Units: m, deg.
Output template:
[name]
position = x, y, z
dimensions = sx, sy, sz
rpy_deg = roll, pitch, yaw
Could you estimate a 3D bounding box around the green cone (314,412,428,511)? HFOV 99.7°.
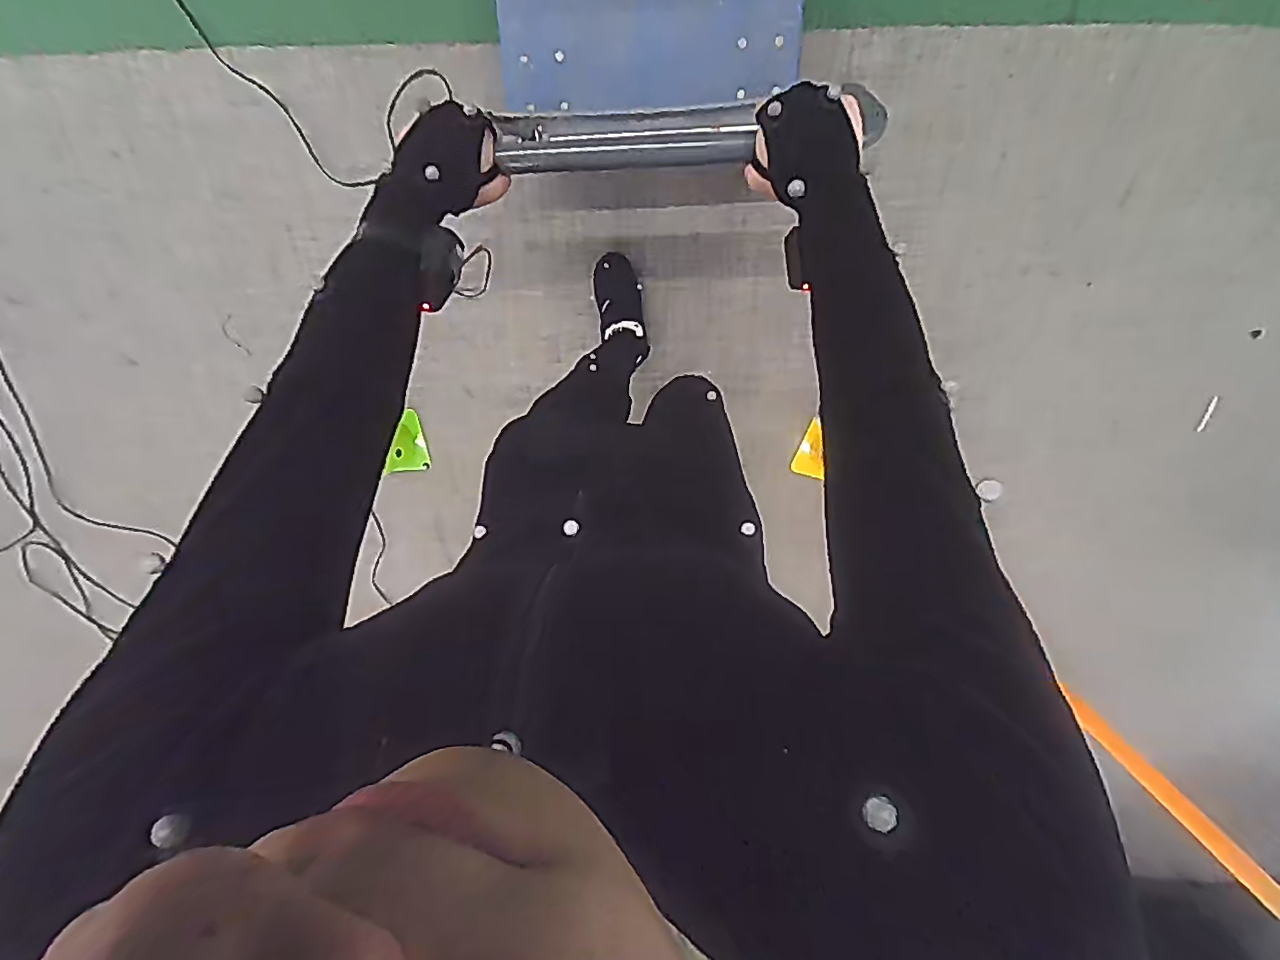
[green cone]
position = -0.768, -0.029, 1.486
dimensions = 0.202, 0.368, 0.200
rpy_deg = -3, 118, 5
